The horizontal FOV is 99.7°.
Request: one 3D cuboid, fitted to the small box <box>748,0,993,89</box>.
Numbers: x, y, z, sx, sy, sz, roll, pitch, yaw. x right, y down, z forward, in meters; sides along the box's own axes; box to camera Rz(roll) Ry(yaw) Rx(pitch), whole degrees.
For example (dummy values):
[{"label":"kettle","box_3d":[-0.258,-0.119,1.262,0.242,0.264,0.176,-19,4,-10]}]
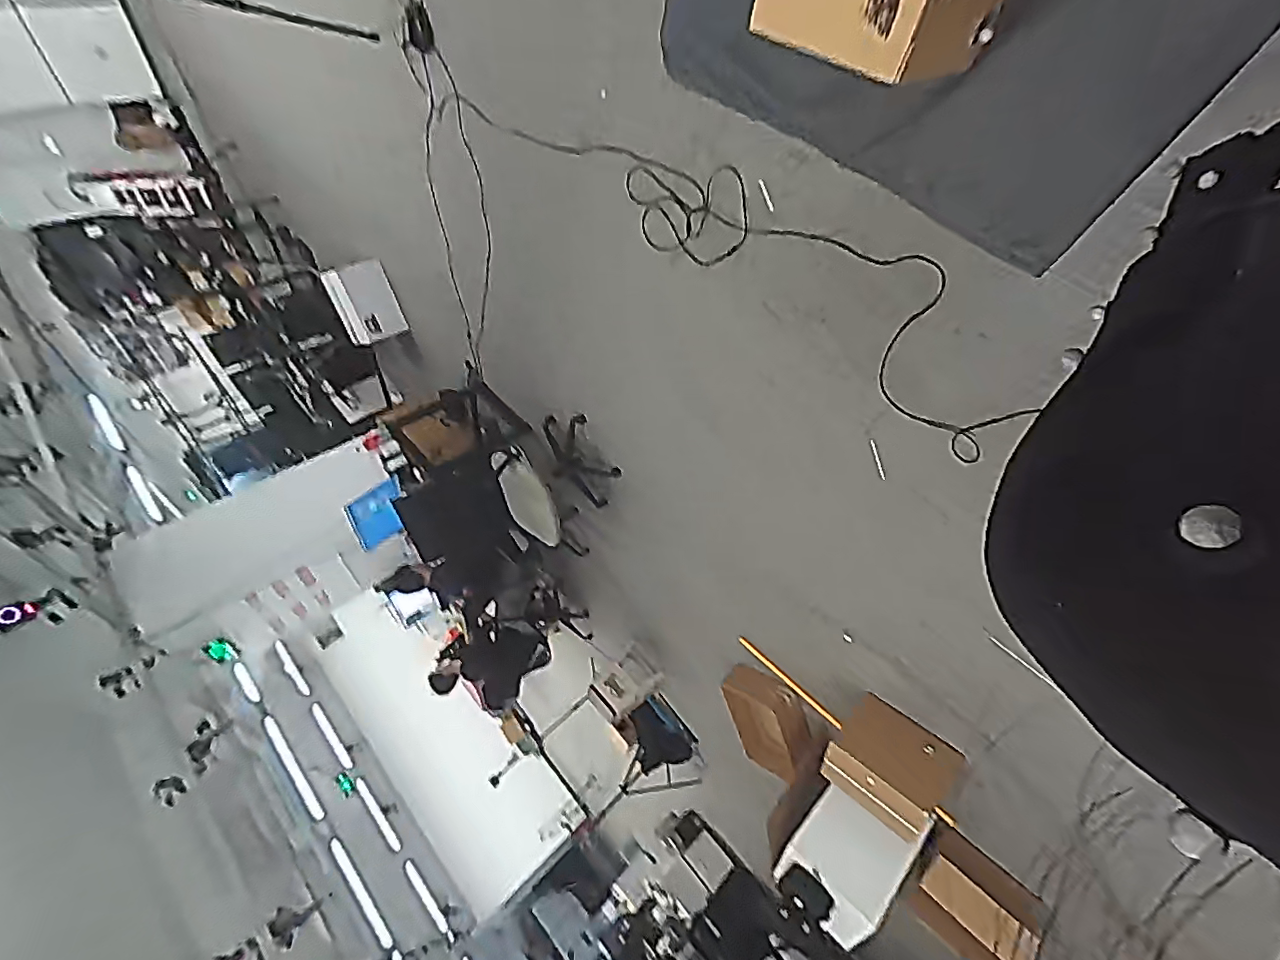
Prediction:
[{"label":"small box","box_3d":[0.236,-0.494,0.498,0.179,0.176,0.168,43,147,23]}]
